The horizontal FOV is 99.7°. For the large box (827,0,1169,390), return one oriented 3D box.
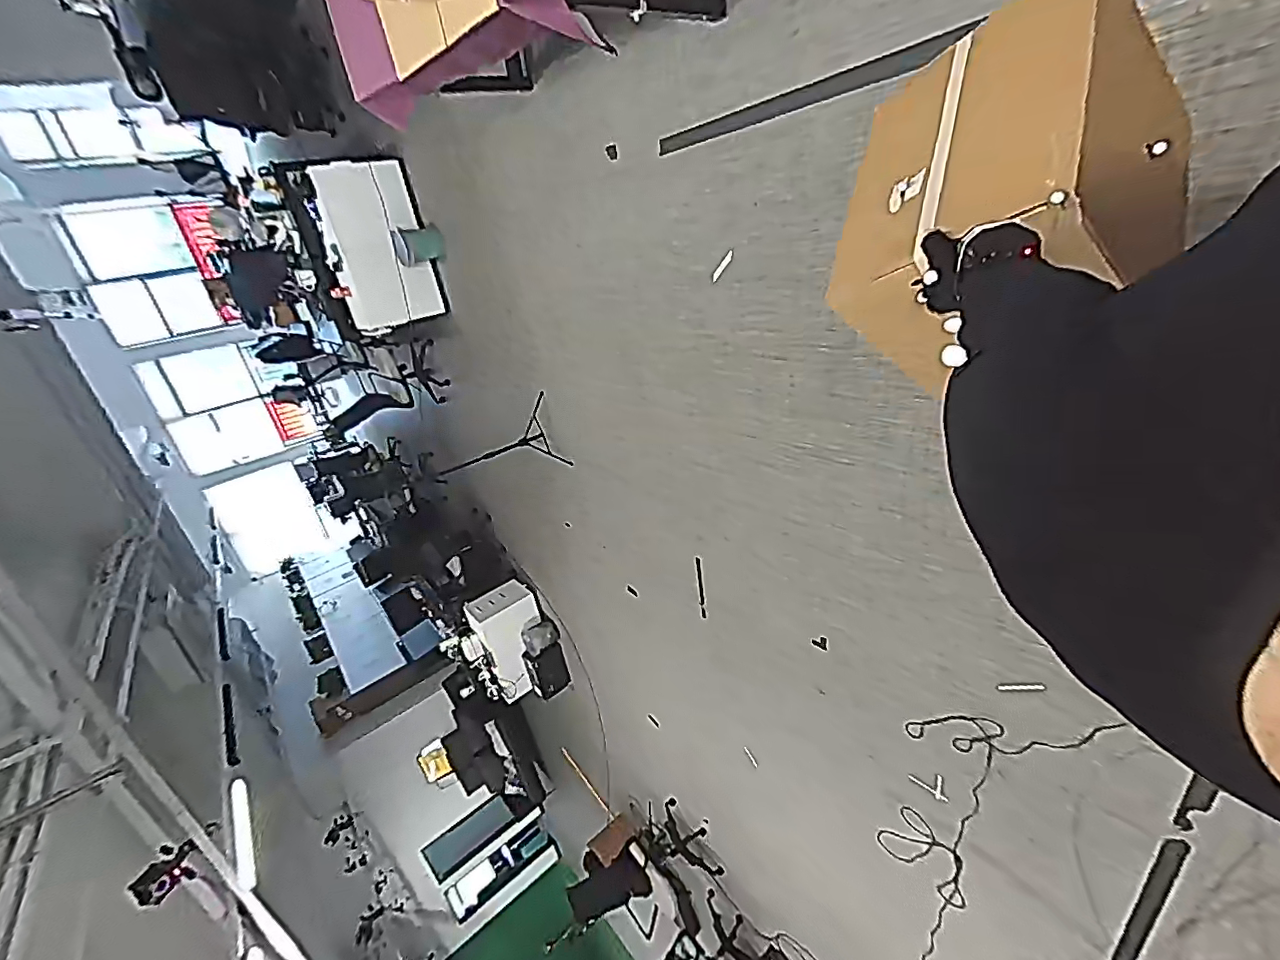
[{"bbox_3d":[0.535,-0.404,0.807,0.320,0.408,0.320,25,163,-27],"label":"large box"}]
